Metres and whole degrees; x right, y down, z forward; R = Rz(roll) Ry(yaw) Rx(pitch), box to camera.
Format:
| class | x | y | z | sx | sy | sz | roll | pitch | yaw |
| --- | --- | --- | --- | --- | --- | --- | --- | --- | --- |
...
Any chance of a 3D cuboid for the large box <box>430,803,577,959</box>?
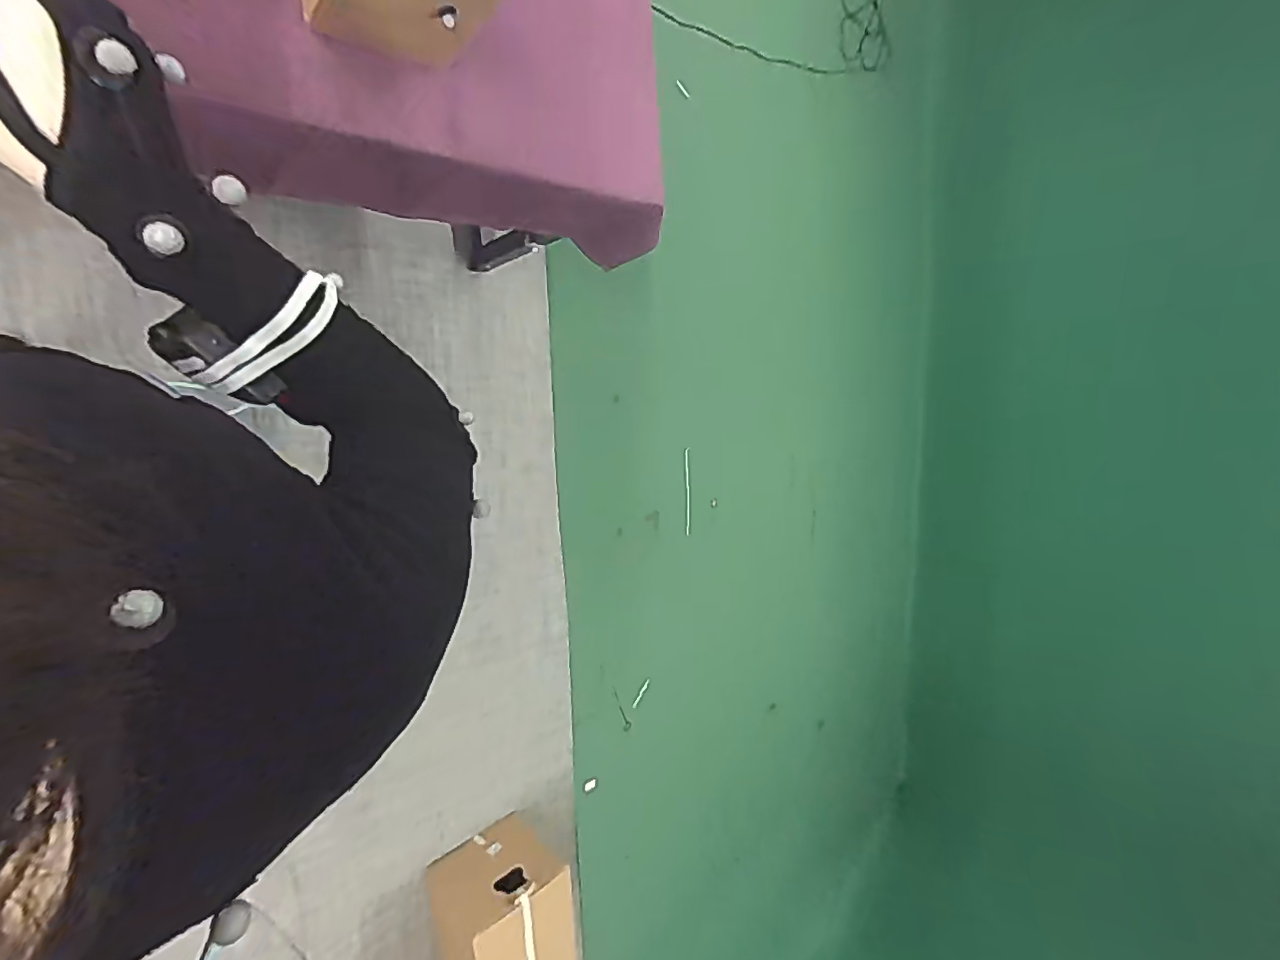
| class | x | y | z | sx | sy | sz | roll | pitch | yaw |
| --- | --- | --- | --- | --- | --- | --- | --- | --- | --- |
| large box | -0.418 | 1.321 | 1.666 | 0.320 | 0.320 | 0.408 | -11 | 104 | -42 |
